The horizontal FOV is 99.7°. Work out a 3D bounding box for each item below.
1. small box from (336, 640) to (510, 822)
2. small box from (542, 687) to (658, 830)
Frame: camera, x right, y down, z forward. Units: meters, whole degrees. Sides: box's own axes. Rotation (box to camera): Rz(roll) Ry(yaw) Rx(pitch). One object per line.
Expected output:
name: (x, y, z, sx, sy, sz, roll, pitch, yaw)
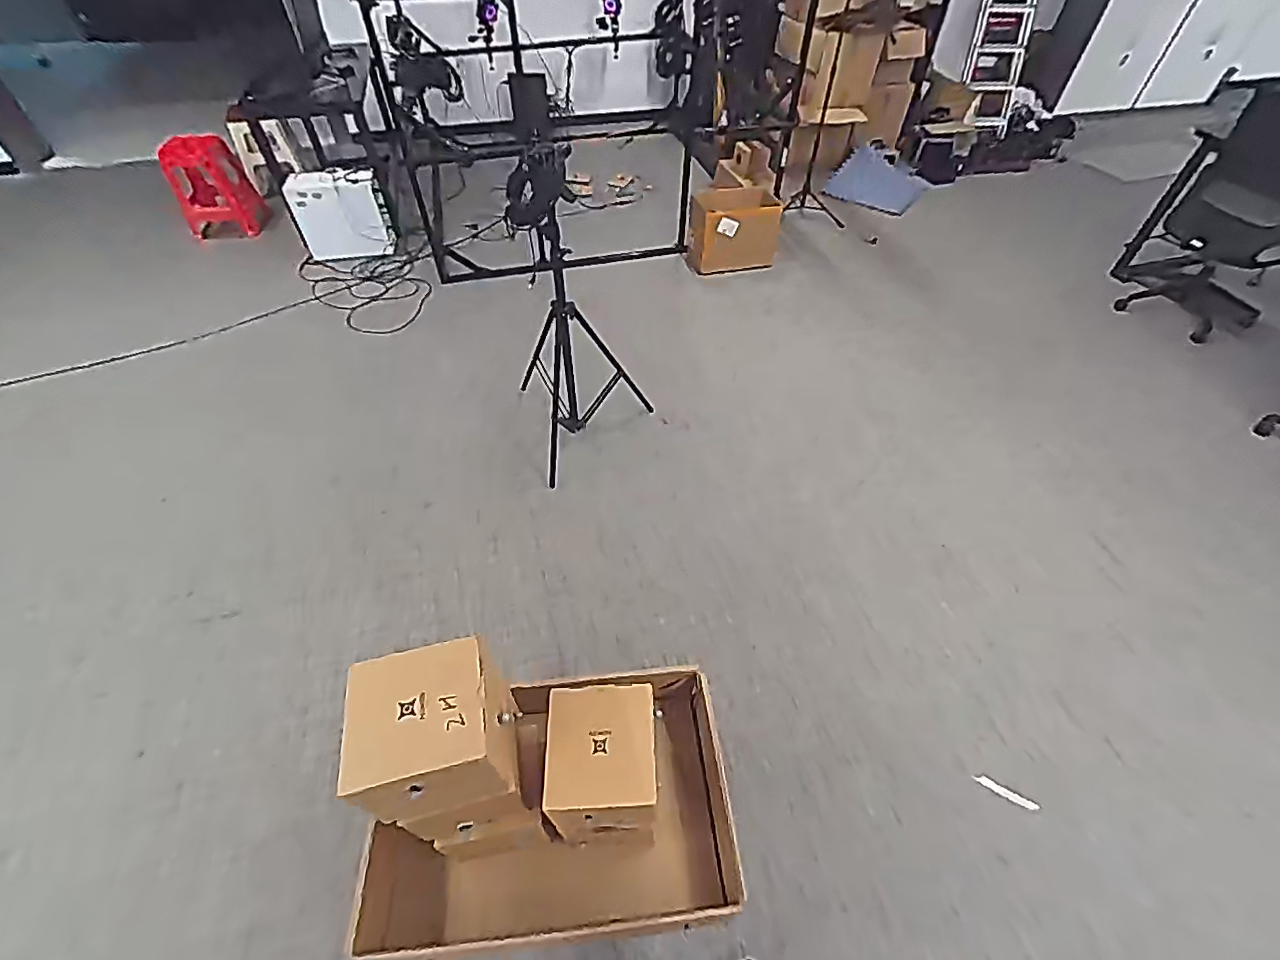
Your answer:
small box: (-0.289, 0.351, 0.751, 0.179, 0.176, 0.168, -10, 50, -10)
small box: (-0.057, 0.456, 0.878, 0.168, 0.176, 0.179, -3, 48, 0)
